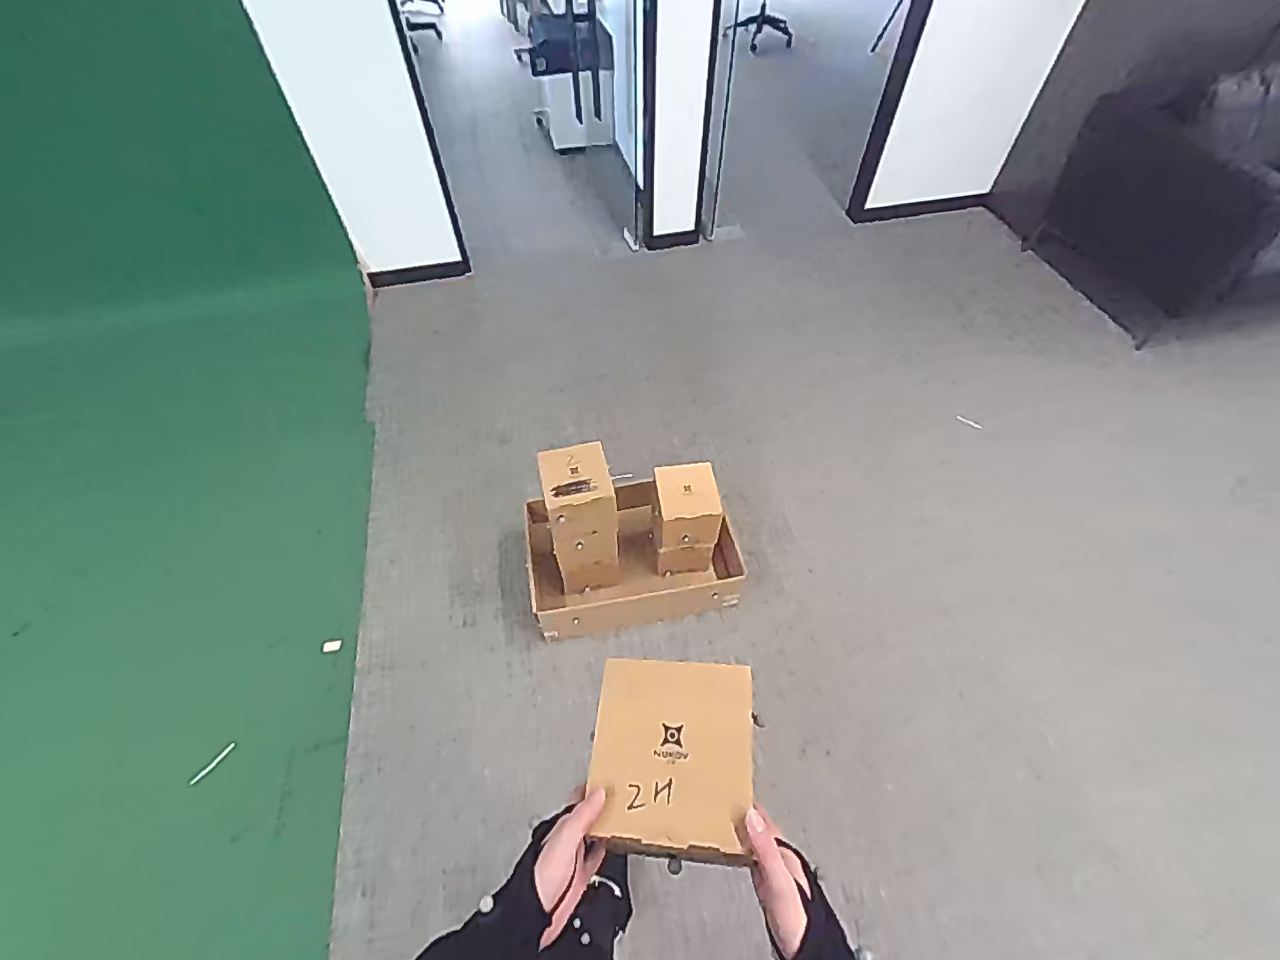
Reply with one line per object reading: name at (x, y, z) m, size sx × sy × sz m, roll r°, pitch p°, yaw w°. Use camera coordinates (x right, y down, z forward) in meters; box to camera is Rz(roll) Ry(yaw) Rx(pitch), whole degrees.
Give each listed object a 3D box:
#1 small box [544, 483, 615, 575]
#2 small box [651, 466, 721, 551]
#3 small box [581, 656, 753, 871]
small box at (-0.168, 0.137, 1.502) m, size 0.168 × 0.176 × 0.179 m, roll -12°, pitch 54°, yaw -8°
small box at (0.124, 0.082, 1.547) m, size 0.168 × 0.176 × 0.179 m, roll -5°, pitch 55°, yaw -5°
small box at (0.044, 0.323, 0.618) m, size 0.168 × 0.176 × 0.179 m, roll 0°, pitch 51°, yaw 11°
